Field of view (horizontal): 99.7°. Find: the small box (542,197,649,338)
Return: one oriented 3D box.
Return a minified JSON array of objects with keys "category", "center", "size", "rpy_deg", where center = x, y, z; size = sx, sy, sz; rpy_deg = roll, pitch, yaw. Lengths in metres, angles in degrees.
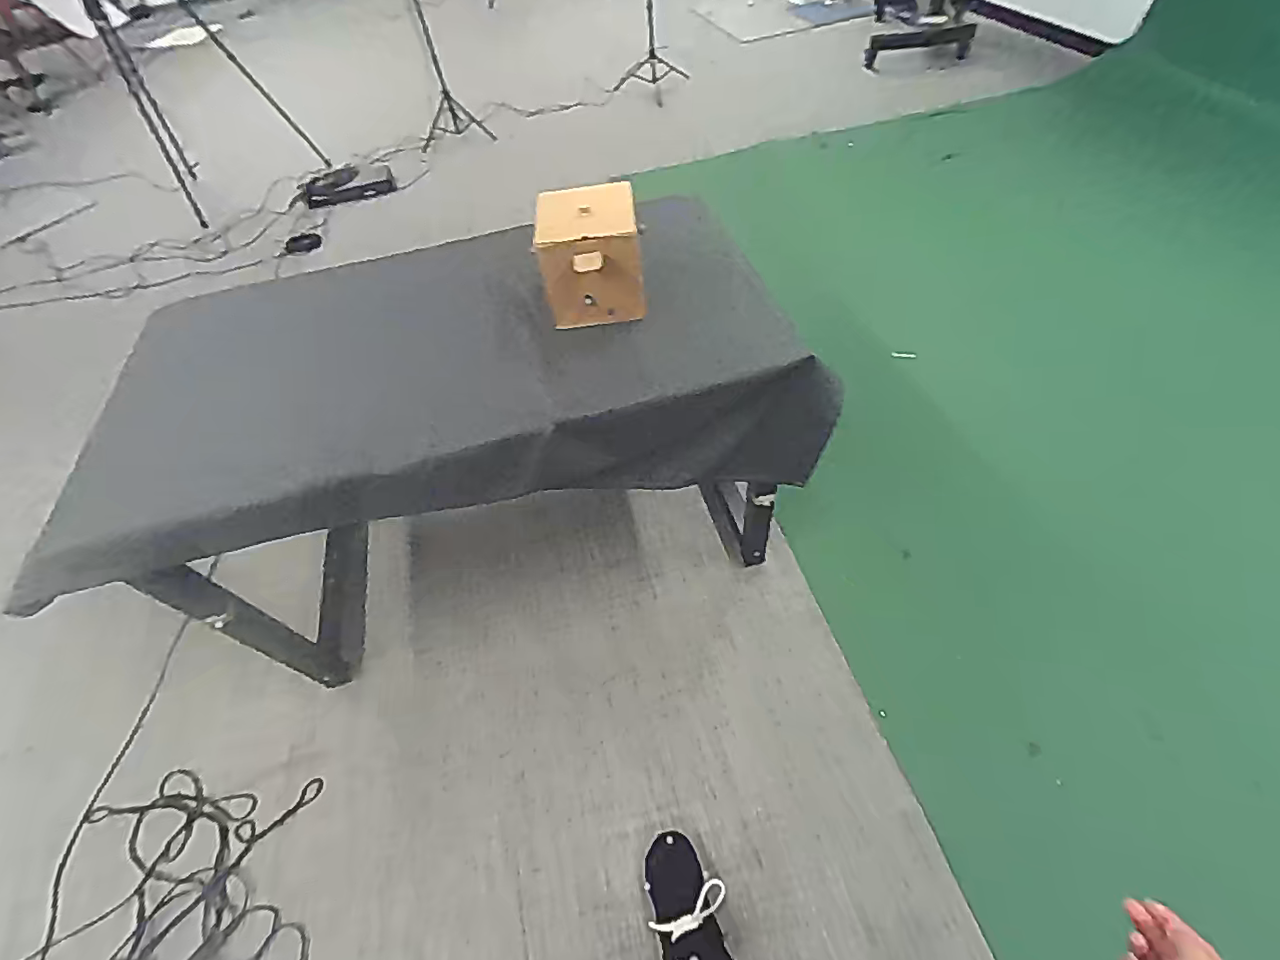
[{"category":"small box","center":[-0.076,-0.382,0.979],"size":[0.168,0.176,0.179],"rpy_deg":[-6,52,2]}]
